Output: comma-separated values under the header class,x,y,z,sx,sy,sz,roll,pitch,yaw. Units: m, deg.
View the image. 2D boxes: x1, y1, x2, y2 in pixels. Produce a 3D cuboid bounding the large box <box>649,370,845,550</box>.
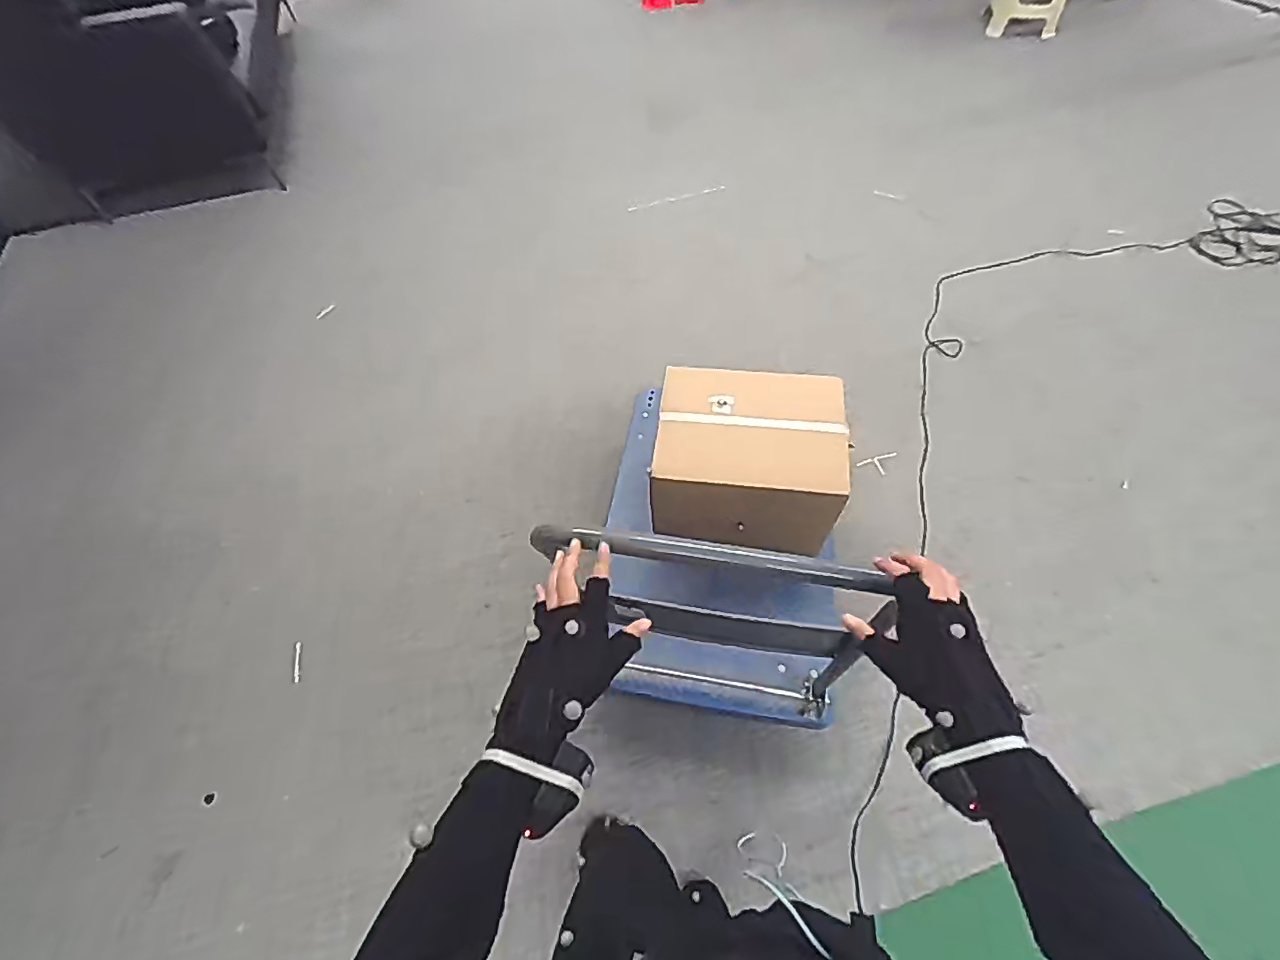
class,x,y,z,sx,sy,sz,roll,pitch,yaw
large box,0.247,-0.042,1.304,0.408,0.320,0.320,4,59,8
